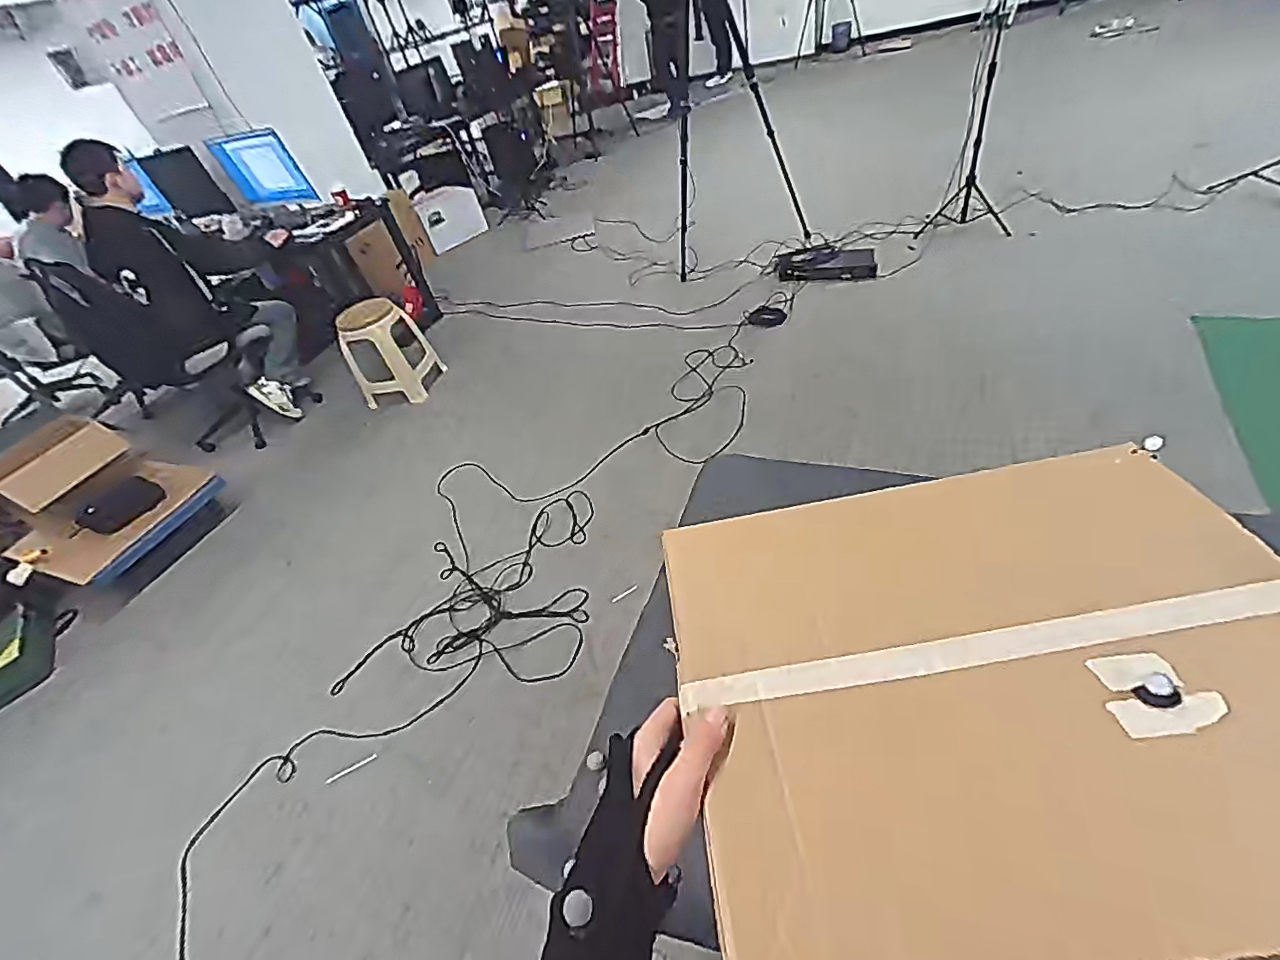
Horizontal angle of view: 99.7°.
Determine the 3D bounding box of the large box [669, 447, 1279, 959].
[{"bbox_3d":[0.257,0.216,0.467,0.408,0.320,0.320,-10,43,3],"label":"large box"}]
